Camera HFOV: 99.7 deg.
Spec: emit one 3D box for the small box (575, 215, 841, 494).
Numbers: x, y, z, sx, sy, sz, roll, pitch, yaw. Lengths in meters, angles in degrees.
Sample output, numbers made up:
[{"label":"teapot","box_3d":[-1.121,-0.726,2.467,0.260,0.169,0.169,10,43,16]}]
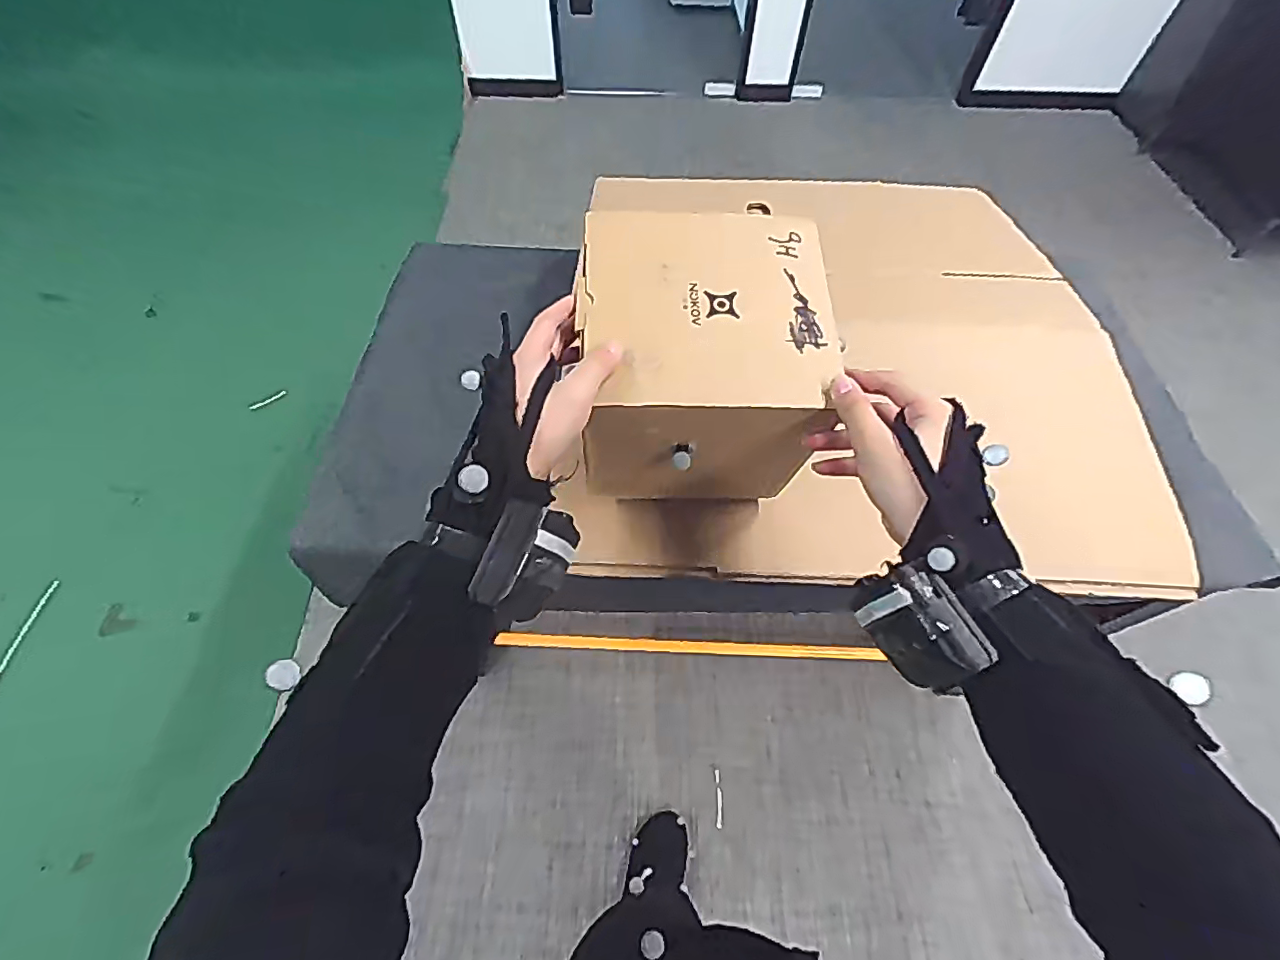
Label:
[{"label":"small box","box_3d":[0.042,-0.091,0.452,0.179,0.176,0.168,0,68,-3]}]
